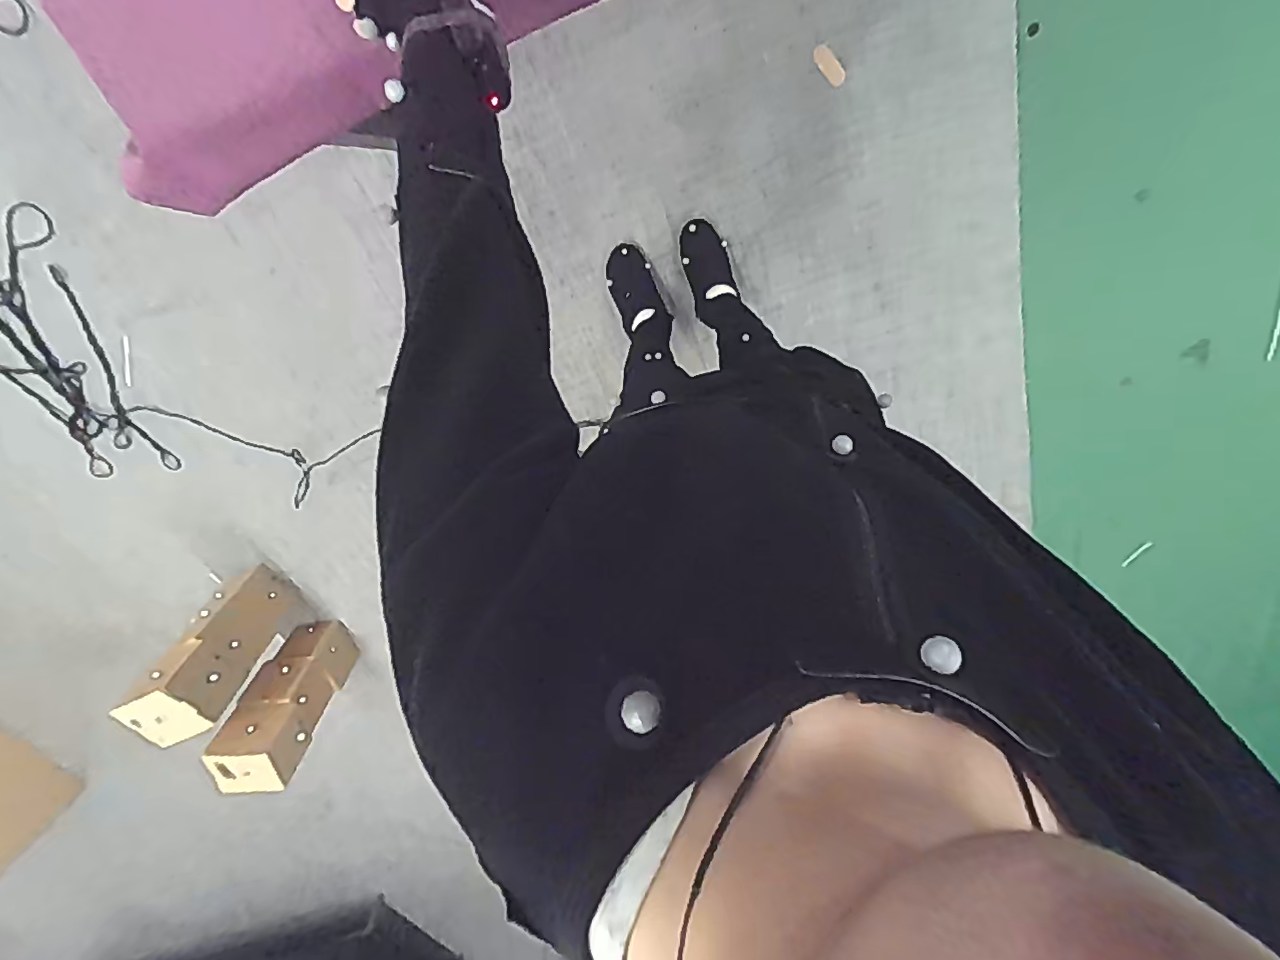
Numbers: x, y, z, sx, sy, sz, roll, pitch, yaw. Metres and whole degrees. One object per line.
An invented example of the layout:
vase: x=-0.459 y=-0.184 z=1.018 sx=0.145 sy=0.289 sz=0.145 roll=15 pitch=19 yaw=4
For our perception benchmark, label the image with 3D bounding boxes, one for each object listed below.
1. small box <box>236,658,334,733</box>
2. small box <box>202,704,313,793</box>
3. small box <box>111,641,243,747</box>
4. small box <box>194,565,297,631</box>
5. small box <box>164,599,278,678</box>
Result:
small box: x=-1.092 y=0.681 z=1.684 sx=0.168 sy=0.176 sz=0.179 roll=-4 pitch=119 yaw=1
small box: x=-1.079 y=0.761 z=1.541 sx=0.179 sy=0.176 sz=0.168 roll=0 pitch=119 yaw=-2
small box: x=-1.193 y=0.554 z=1.417 sx=0.179 sy=0.176 sz=0.168 roll=-24 pitch=118 yaw=9
small box: x=-1.224 y=0.397 z=1.701 sx=0.179 sy=0.176 sz=0.168 roll=-26 pitch=117 yaw=12
small box: x=-1.203 y=0.478 z=1.561 sx=0.168 sy=0.176 sz=0.179 roll=-31 pitch=117 yaw=13
